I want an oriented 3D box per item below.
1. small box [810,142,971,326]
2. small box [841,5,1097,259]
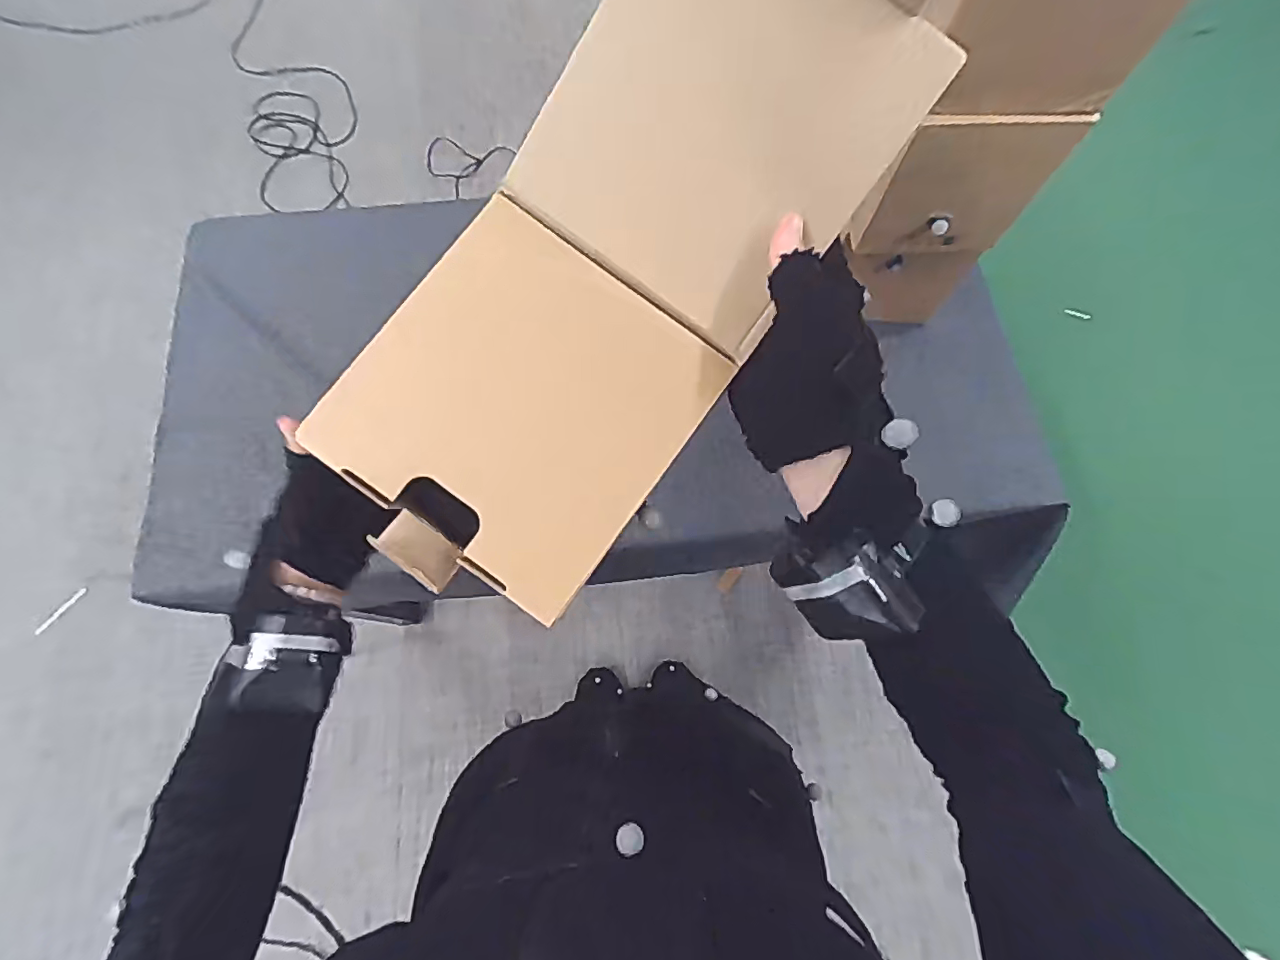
[{"bbox_3d":[0.343,-0.335,0.753,0.179,0.176,0.168,6,71,2],"label":"small box"},{"bbox_3d":[0.334,-0.371,0.593,0.168,0.176,0.179,0,72,1],"label":"small box"}]
